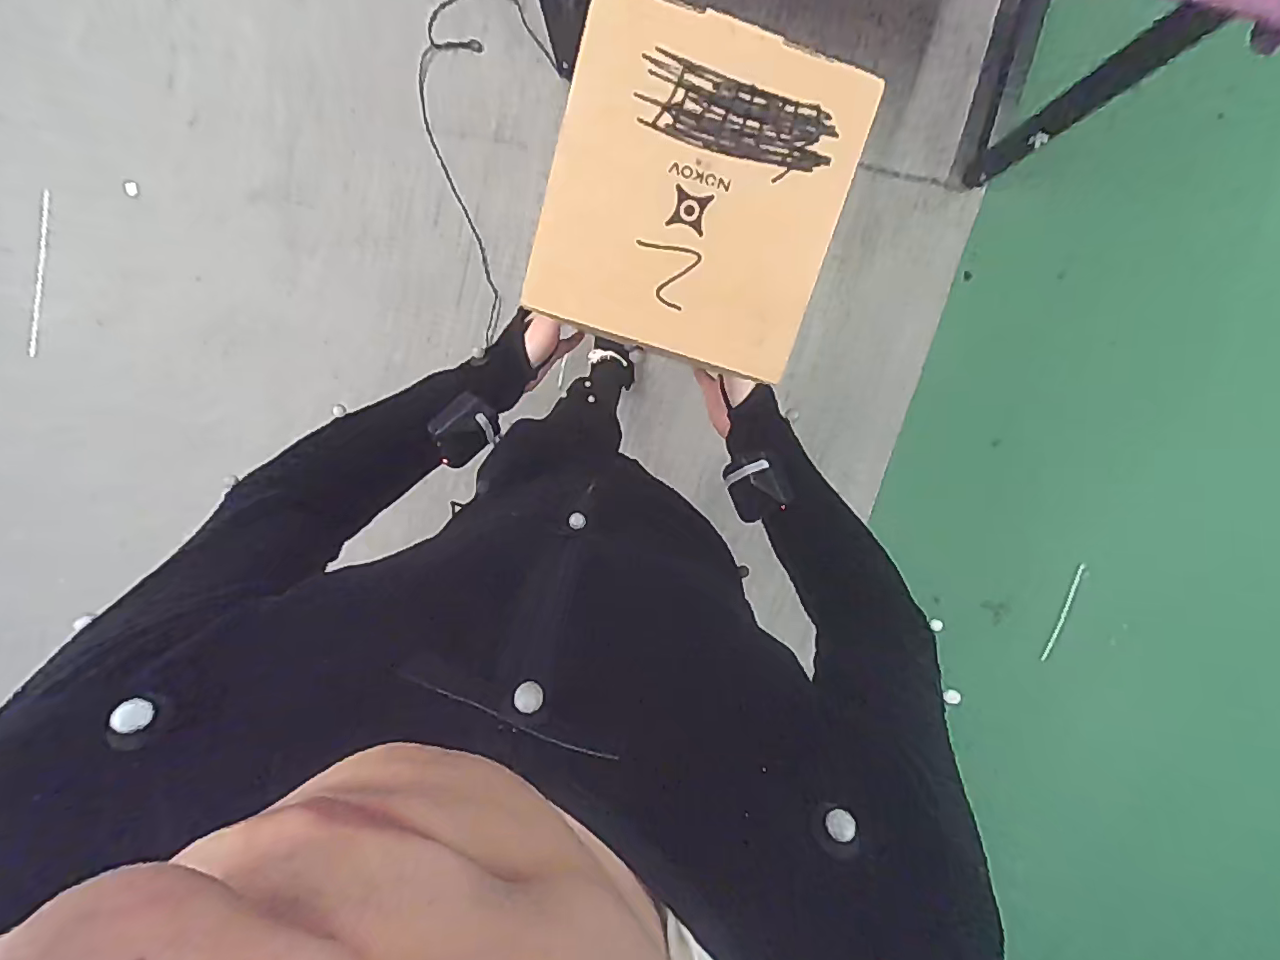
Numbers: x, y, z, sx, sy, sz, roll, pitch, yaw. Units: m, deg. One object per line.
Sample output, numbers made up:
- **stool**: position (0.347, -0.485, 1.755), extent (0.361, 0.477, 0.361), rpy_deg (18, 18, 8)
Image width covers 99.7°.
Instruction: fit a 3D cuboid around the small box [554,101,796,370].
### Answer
- **small box**: position (0.027, -0.219, 0.535), extent (0.168, 0.176, 0.179), rpy_deg (17, 102, -5)
